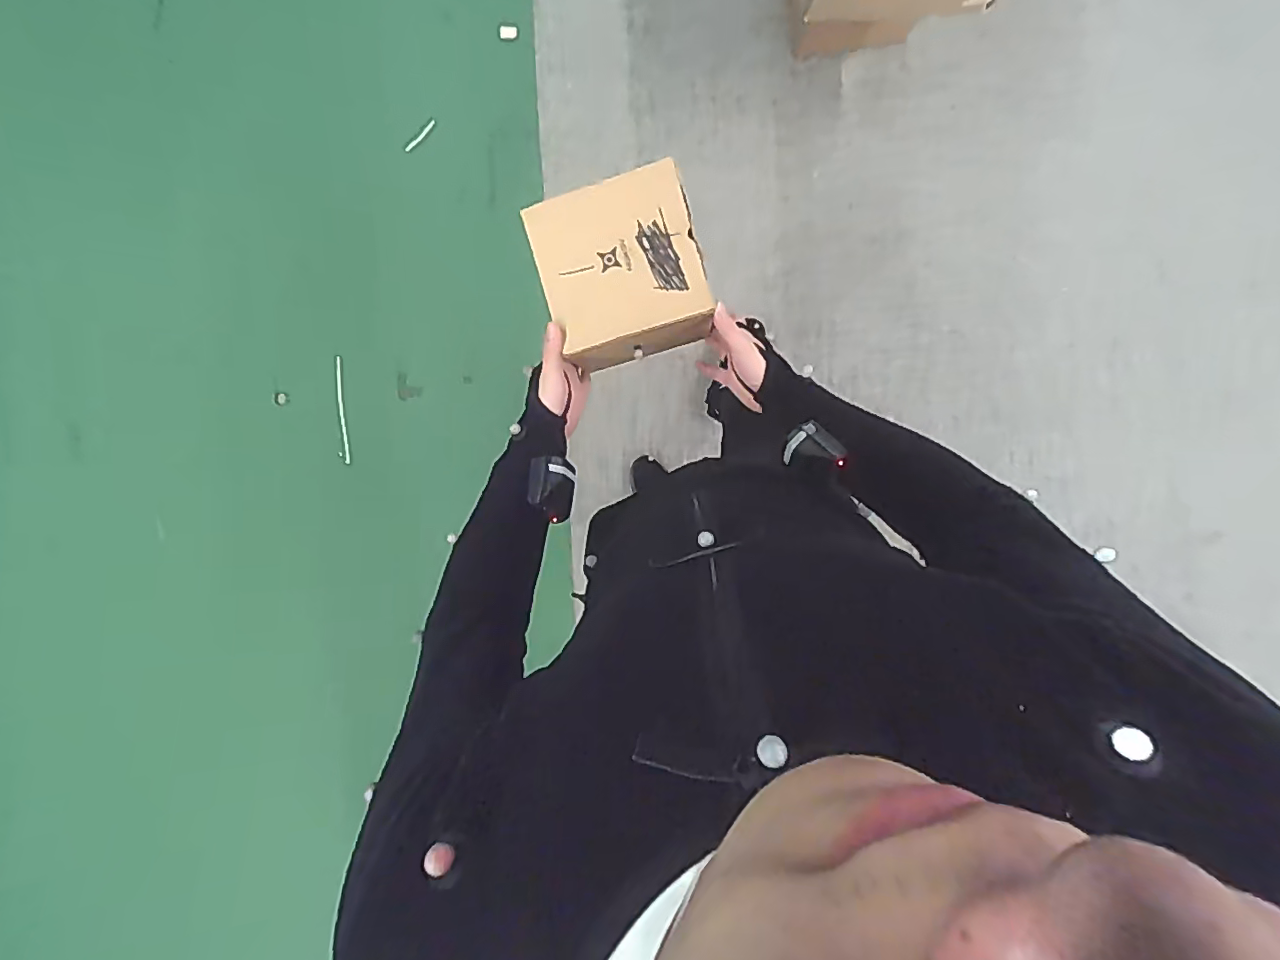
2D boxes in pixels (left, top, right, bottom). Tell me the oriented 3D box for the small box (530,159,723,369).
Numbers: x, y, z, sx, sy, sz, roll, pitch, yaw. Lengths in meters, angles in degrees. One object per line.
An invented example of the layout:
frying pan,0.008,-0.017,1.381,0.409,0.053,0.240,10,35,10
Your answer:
small box,-0.011,-0.244,0.656,0.179,0.176,0.168,-16,93,5
